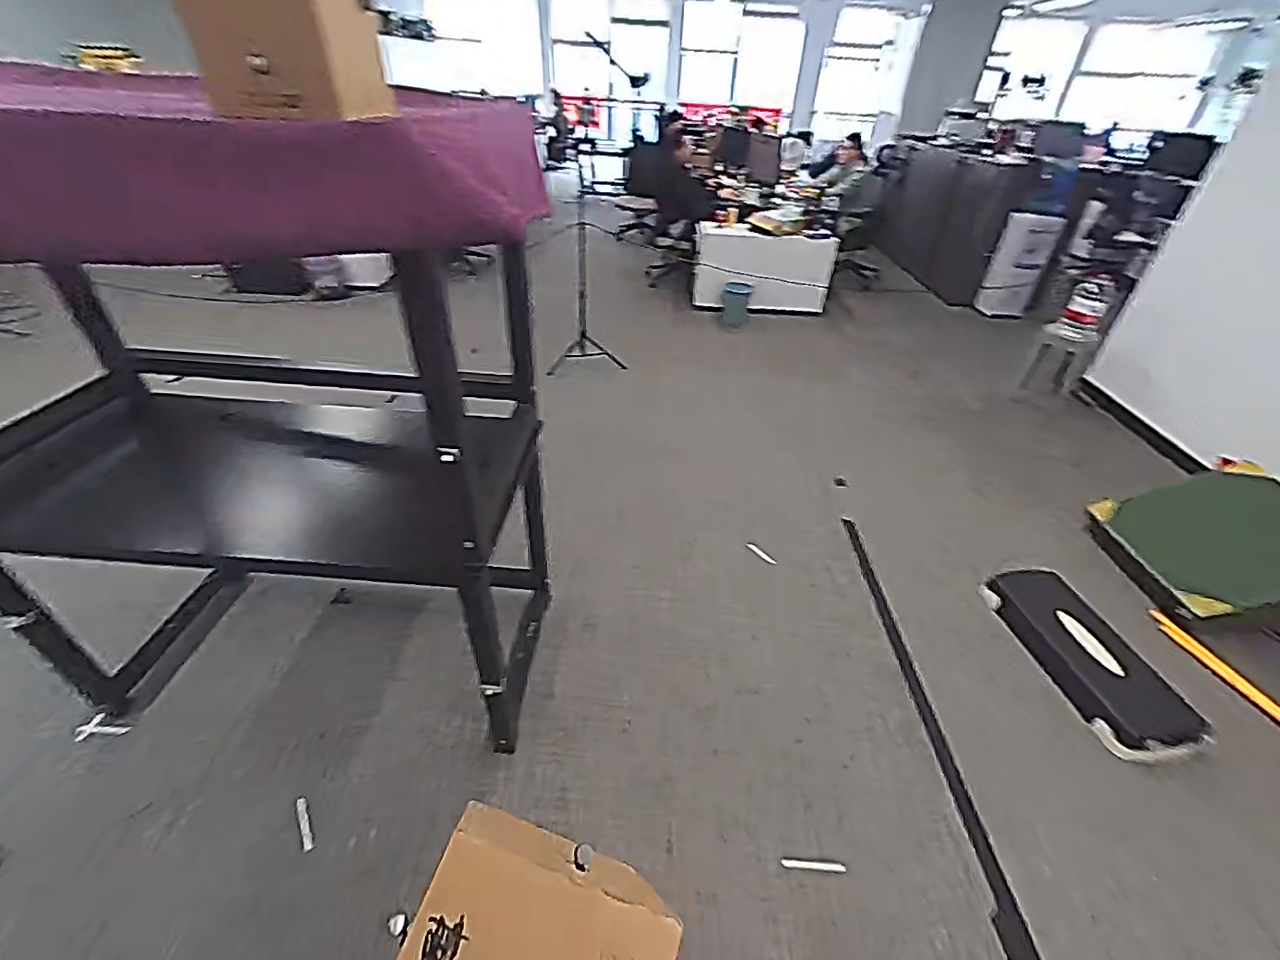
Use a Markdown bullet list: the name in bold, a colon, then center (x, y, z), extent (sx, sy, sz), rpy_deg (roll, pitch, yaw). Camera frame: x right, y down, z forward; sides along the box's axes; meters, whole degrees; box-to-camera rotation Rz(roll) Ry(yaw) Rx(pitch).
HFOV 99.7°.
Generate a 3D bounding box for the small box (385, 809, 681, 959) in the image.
- **small box**: center (-0.096, 0.367, 0.400), extent (0.179, 0.176, 0.168), rpy_deg (24, 61, -3)

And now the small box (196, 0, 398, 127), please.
- **small box**: center (-0.434, -0.567, 0.700), extent (0.168, 0.176, 0.179), rpy_deg (2, 36, 0)
